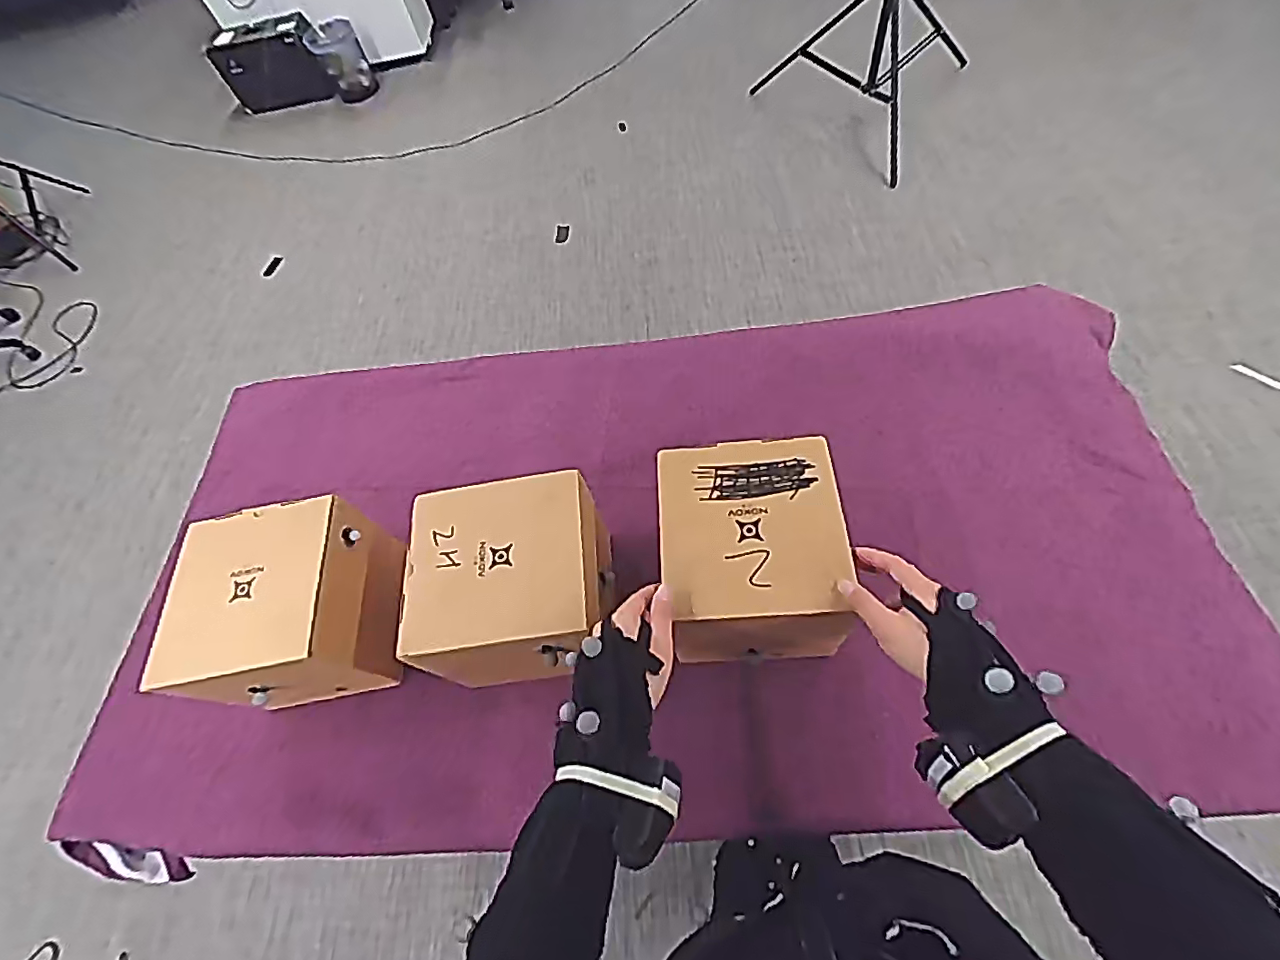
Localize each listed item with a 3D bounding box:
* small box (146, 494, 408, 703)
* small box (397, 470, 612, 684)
[{"bbox_3d":[-0.381,0.143,0.608,0.168,0.176,0.179,-12,59,3],"label":"small box"},{"bbox_3d":[-0.128,0.112,0.580,0.179,0.176,0.168,-10,59,3],"label":"small box"}]
